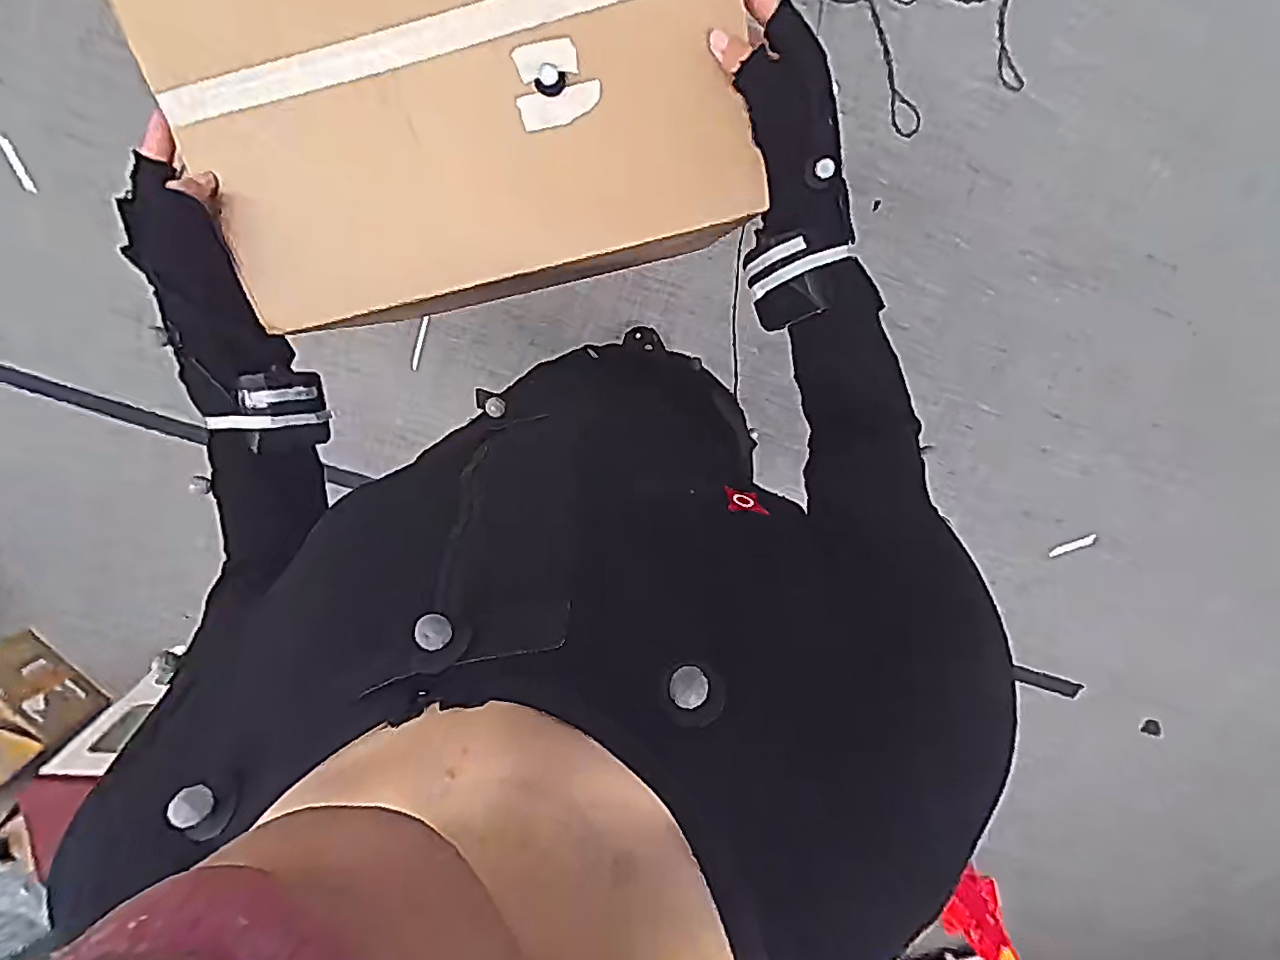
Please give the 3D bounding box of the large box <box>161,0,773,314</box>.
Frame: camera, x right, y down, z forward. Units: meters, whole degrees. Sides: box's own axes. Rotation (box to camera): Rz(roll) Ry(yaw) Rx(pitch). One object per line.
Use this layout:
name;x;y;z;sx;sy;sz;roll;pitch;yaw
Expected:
large box;-0.128;-0.362;0.520;0.408;0.320;0.320;-12;109;2
